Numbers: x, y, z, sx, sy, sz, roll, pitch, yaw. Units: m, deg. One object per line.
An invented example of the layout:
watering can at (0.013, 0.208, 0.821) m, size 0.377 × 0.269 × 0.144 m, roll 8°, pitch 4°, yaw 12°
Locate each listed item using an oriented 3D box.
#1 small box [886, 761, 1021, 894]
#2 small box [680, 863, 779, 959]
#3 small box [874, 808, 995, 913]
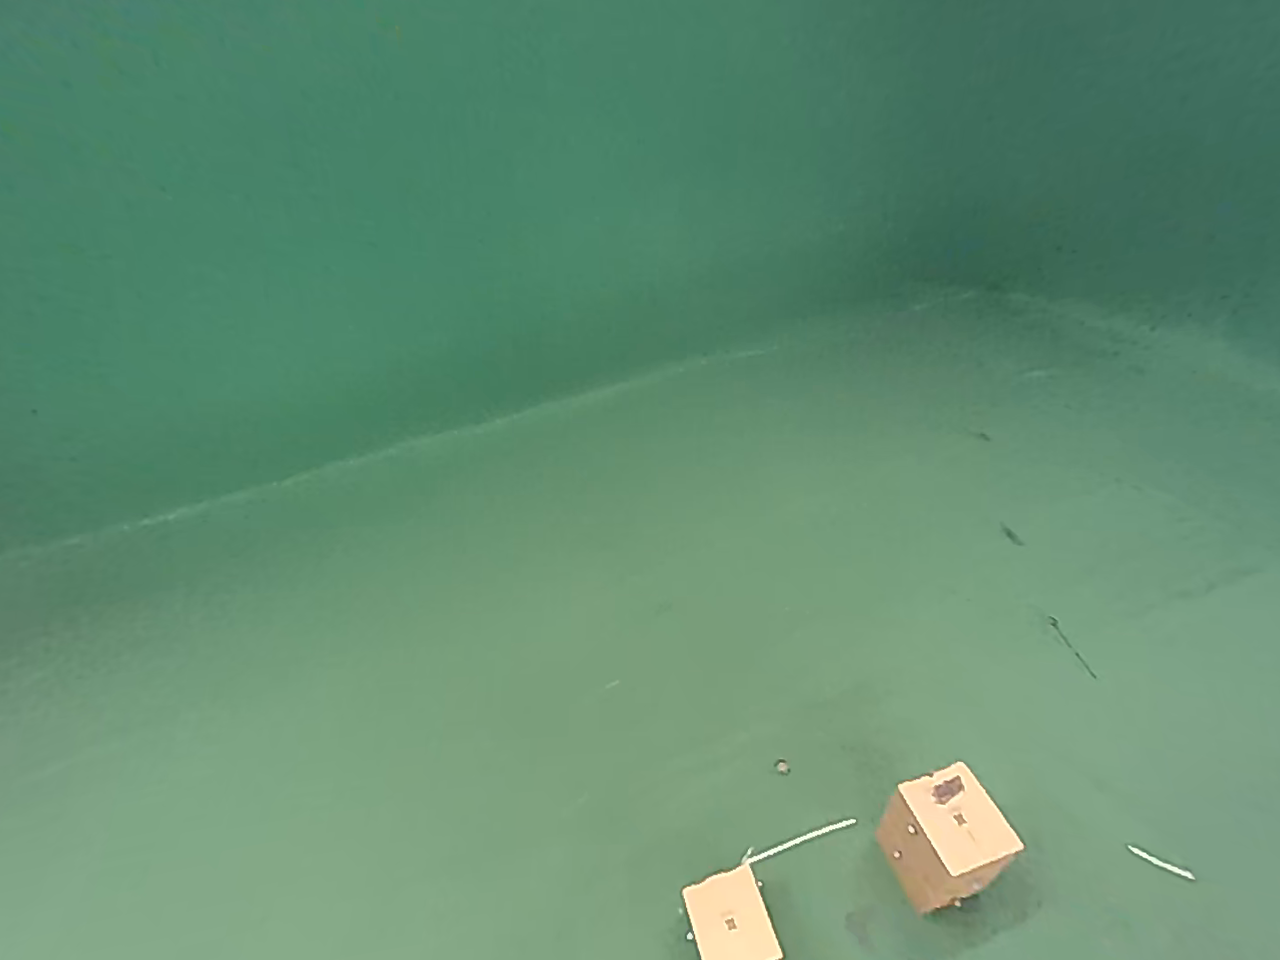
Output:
small box at (0.663, 0.753, 1.172) m, size 0.168 × 0.176 × 0.179 m, roll -15°, pitch 41°, yaw -7°
small box at (0.201, 1.011, 1.220) m, size 0.168 × 0.176 × 0.179 m, roll -16°, pitch 40°, yaw -7°
small box at (0.681, 0.877, 1.278) m, size 0.168 × 0.176 × 0.179 m, roll -15°, pitch 41°, yaw -7°
